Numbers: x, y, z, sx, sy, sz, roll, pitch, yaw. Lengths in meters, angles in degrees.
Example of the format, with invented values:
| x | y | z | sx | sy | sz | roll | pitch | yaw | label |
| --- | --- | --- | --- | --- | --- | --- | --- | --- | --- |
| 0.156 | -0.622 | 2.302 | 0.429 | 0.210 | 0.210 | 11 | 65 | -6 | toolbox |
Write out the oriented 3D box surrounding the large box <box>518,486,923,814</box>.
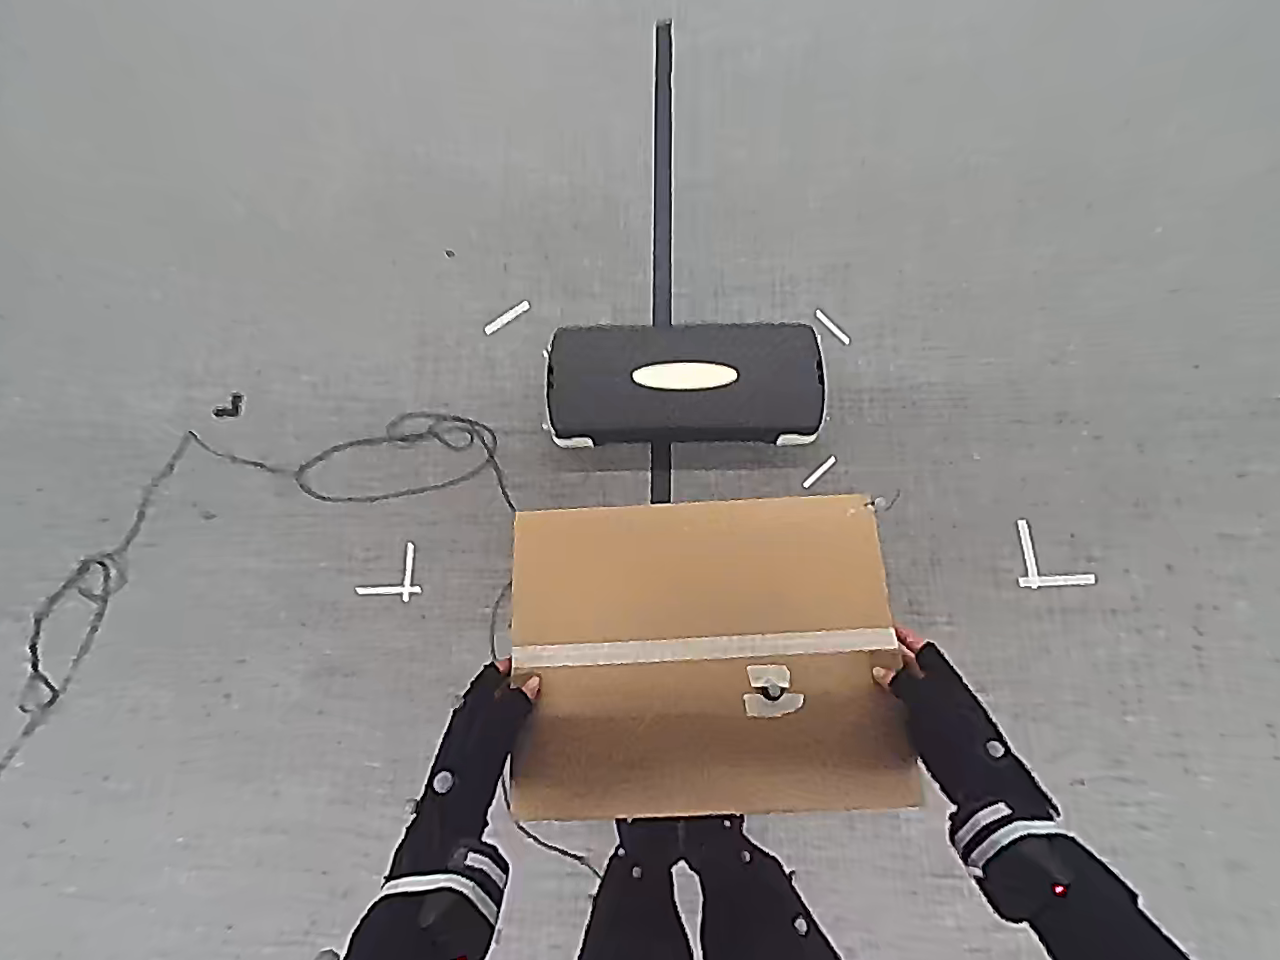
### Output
| x | y | z | sx | sy | sz | roll | pitch | yaw | label |
| --- | --- | --- | --- | --- | --- | --- | --- | --- | --- |
| 0.073 | 0.209 | 0.710 | 0.408 | 0.320 | 0.320 | -3 | 74 | 1 | large box |
